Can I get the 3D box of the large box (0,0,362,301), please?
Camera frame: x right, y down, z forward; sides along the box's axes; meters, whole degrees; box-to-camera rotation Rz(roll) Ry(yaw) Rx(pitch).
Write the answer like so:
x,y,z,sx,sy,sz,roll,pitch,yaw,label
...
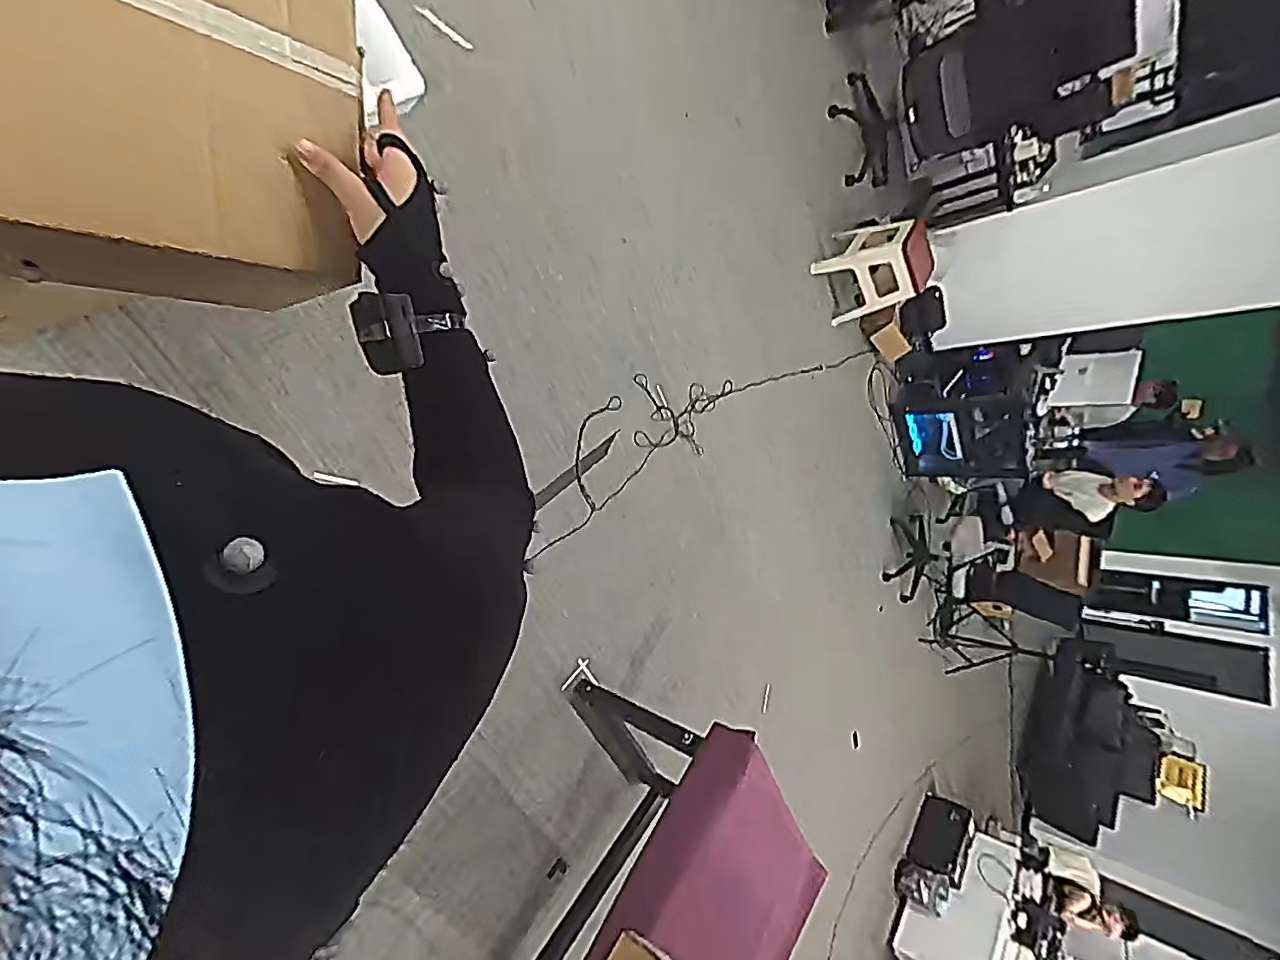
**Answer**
x,y,z,sx,sy,sz,roll,pitch,yaw,label
-0.479,-0.329,0.410,0.408,0.320,0.320,-6,101,-44,large box
